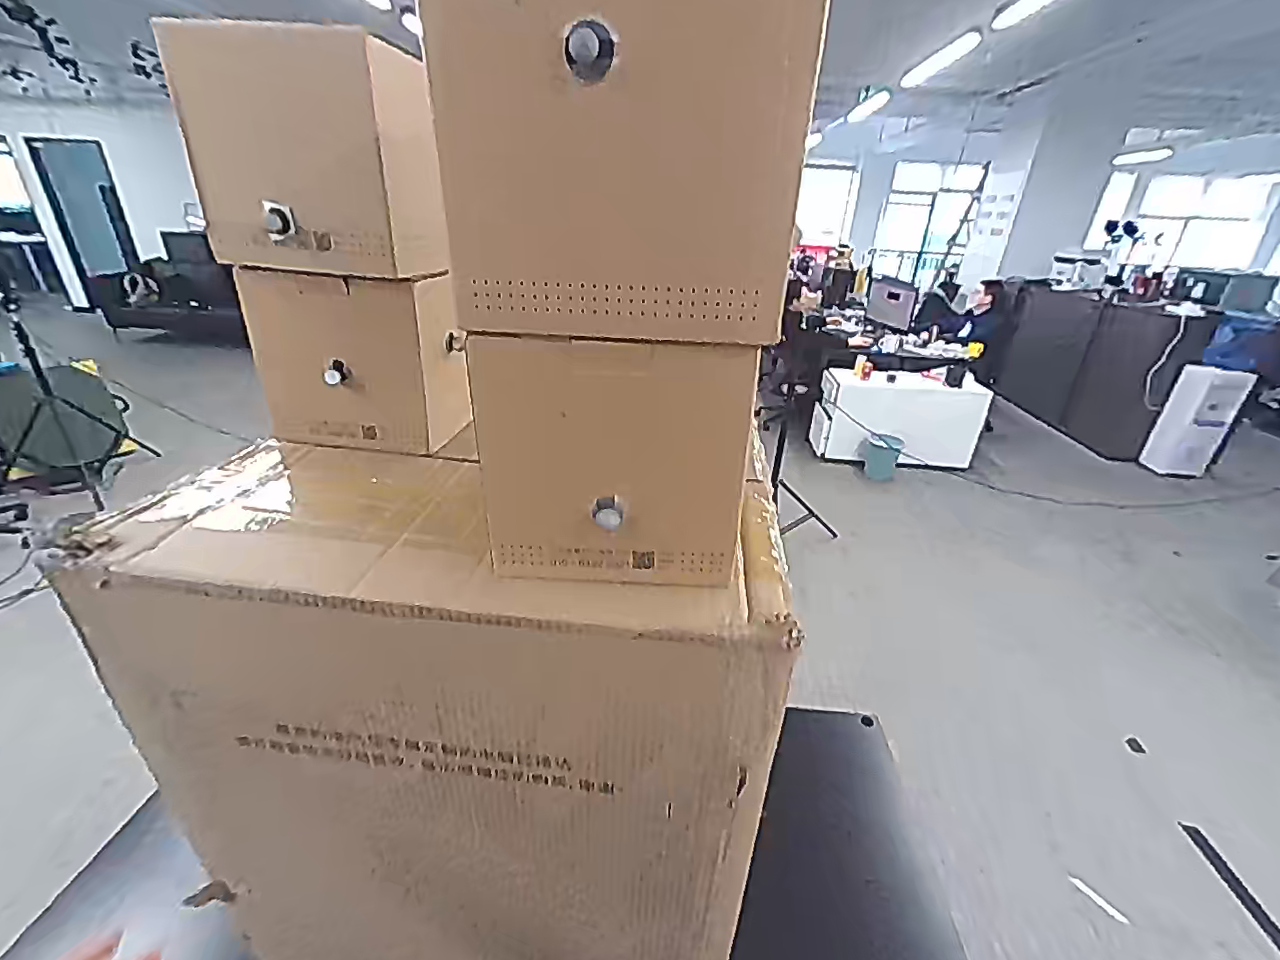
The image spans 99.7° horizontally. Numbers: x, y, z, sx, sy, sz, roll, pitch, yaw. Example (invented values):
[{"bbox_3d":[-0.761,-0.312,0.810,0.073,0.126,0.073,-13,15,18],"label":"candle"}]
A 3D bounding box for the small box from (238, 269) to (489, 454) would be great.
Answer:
[{"bbox_3d":[-0.268,-0.138,0.576,0.168,0.176,0.179,6,27,3],"label":"small box"}]

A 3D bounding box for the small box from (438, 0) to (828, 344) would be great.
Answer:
[{"bbox_3d":[0.000,-0.182,0.322,0.179,0.176,0.168,4,28,4],"label":"small box"}]

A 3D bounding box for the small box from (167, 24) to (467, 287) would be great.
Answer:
[{"bbox_3d":[-0.256,-0.278,0.490,0.168,0.176,0.179,6,27,5],"label":"small box"}]

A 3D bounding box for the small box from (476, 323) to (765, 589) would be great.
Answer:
[{"bbox_3d":[-0.010,-0.041,0.407,0.168,0.176,0.179,2,27,2],"label":"small box"}]
